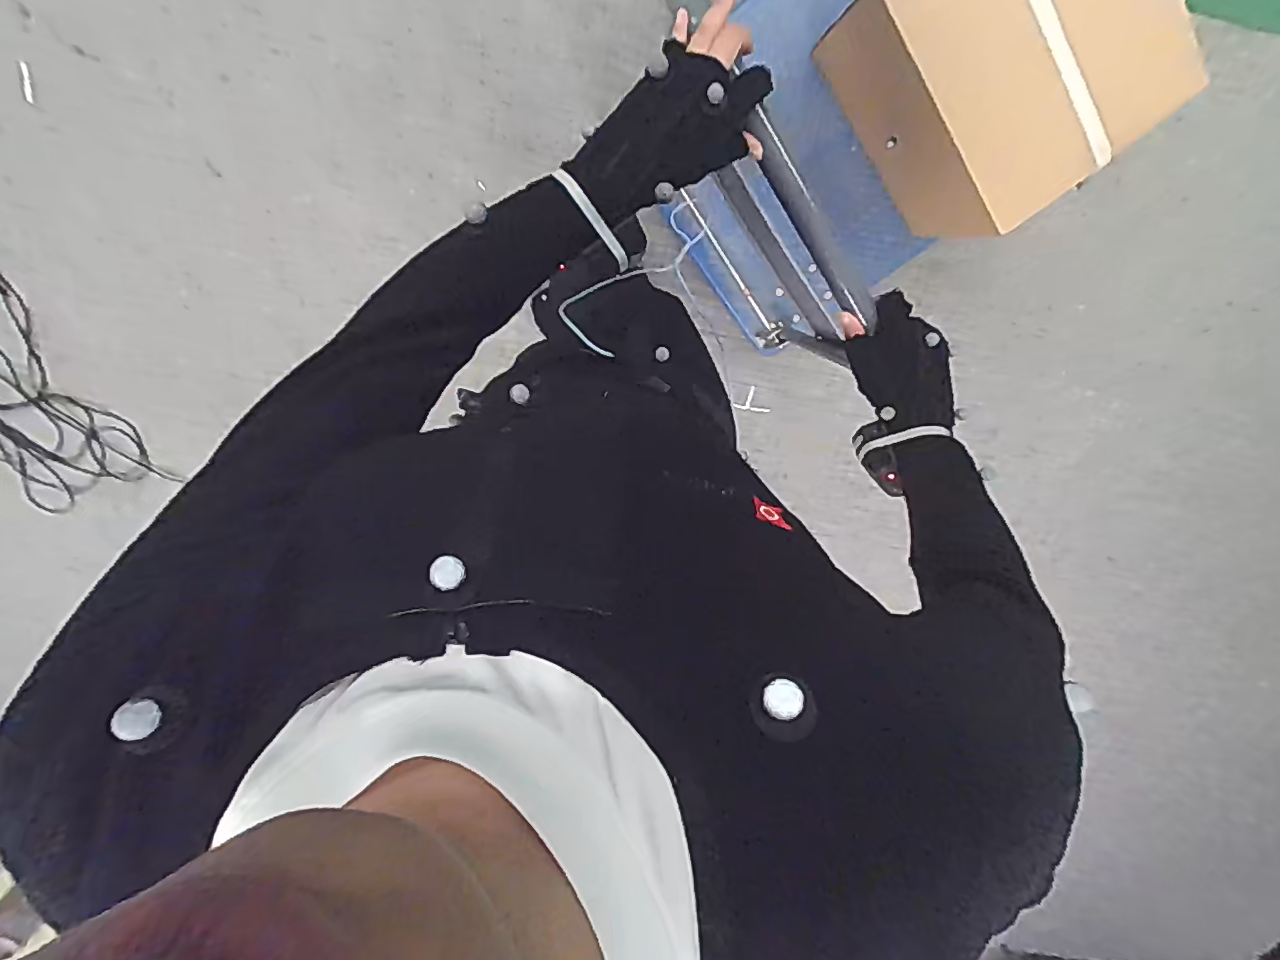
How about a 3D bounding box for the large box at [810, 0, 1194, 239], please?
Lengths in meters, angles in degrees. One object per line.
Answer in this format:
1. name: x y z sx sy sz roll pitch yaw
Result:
1. large box: 0.546 -0.662 0.882 0.320 0.320 0.408 -36 108 15
